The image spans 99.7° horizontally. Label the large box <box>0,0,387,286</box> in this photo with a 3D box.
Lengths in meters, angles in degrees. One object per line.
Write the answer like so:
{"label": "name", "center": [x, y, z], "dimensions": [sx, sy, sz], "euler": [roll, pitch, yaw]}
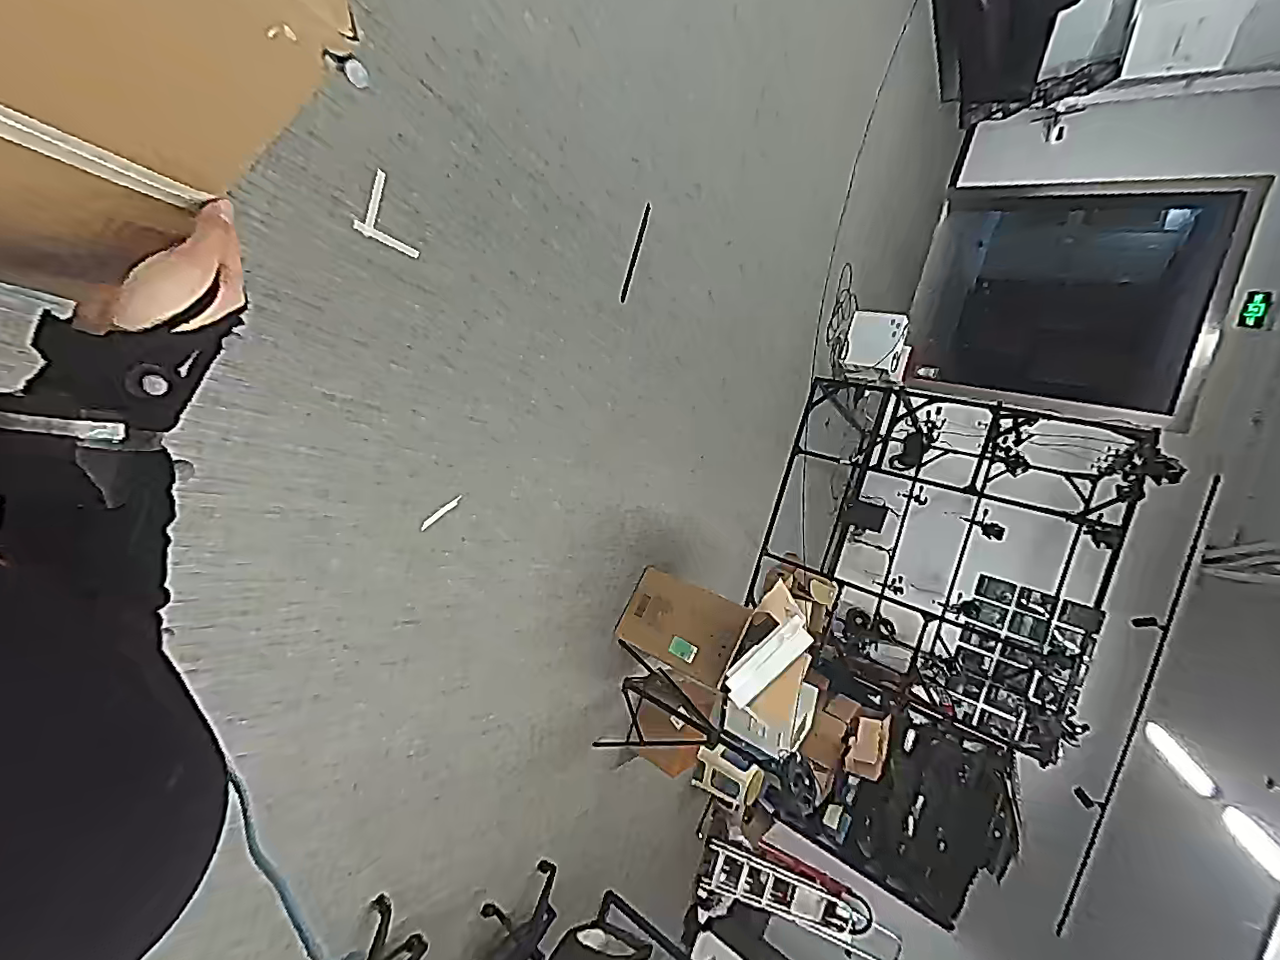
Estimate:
{"label": "large box", "center": [-0.391, -0.346, 0.204], "dimensions": [0.408, 0.320, 0.320], "euler": [5, 68, -61]}
